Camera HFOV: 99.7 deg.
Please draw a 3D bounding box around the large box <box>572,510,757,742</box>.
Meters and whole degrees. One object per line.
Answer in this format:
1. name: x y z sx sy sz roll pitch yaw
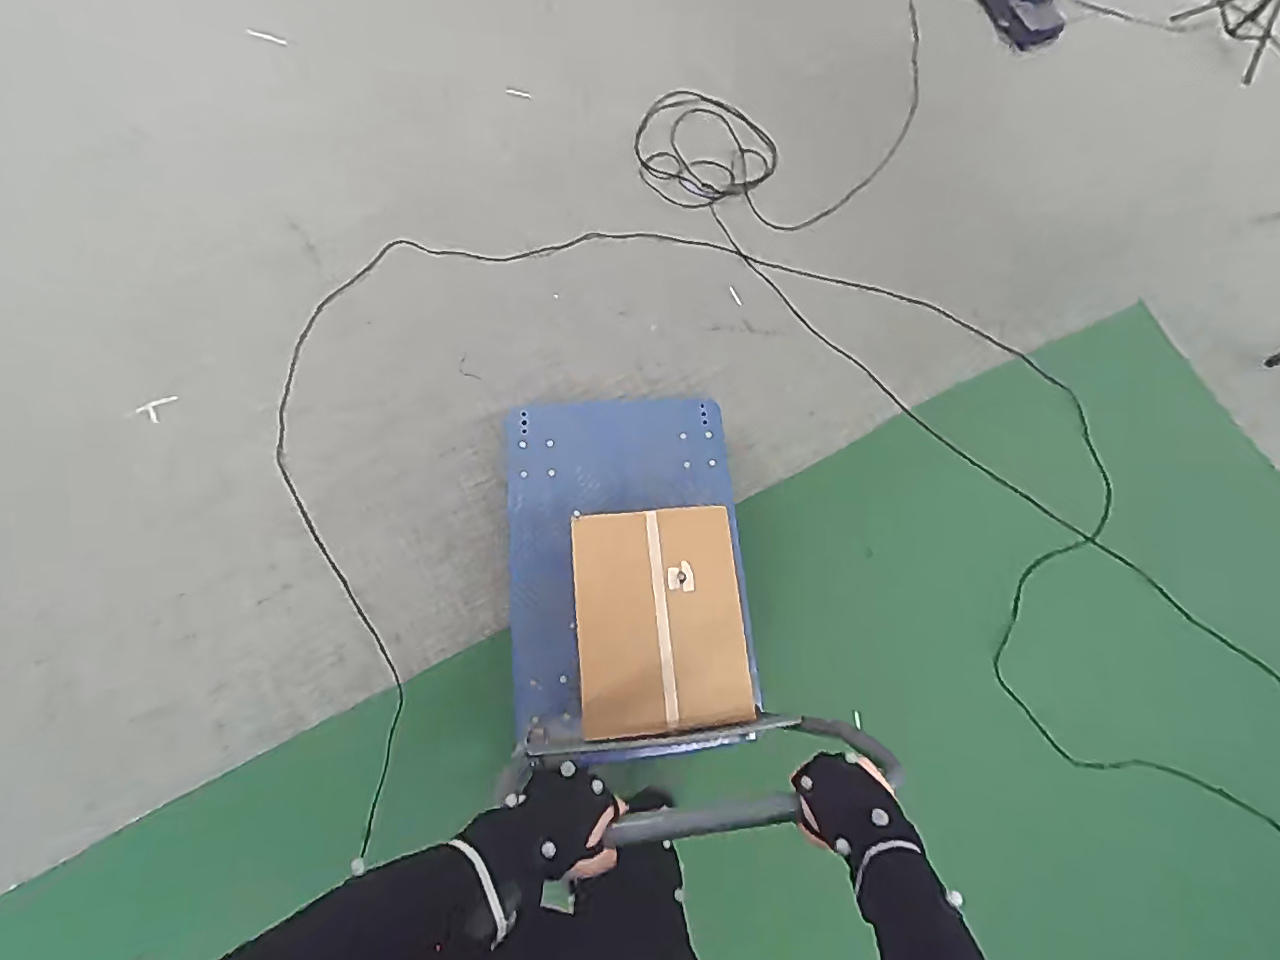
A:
1. large box: 0.028 0.306 1.159 0.320 0.320 0.408 -4 73 -8
